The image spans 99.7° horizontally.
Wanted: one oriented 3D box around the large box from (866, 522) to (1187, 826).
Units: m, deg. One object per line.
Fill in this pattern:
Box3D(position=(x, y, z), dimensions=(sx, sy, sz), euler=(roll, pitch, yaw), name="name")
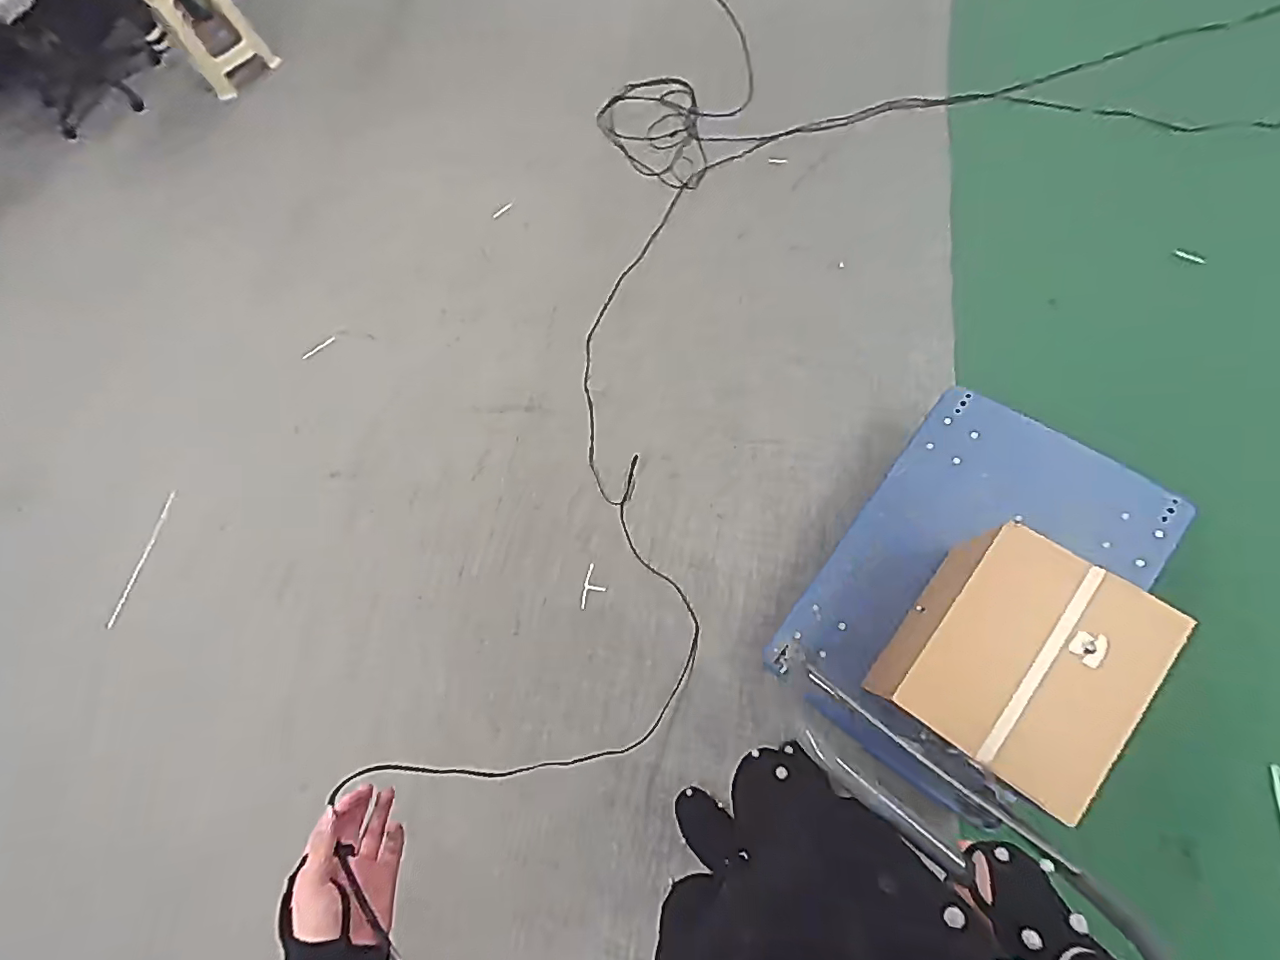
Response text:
Box3D(position=(0.712, 0.360, 1.067), dimensions=(0.320, 0.320, 0.408), euler=(36, 83, 19), name="large box")
